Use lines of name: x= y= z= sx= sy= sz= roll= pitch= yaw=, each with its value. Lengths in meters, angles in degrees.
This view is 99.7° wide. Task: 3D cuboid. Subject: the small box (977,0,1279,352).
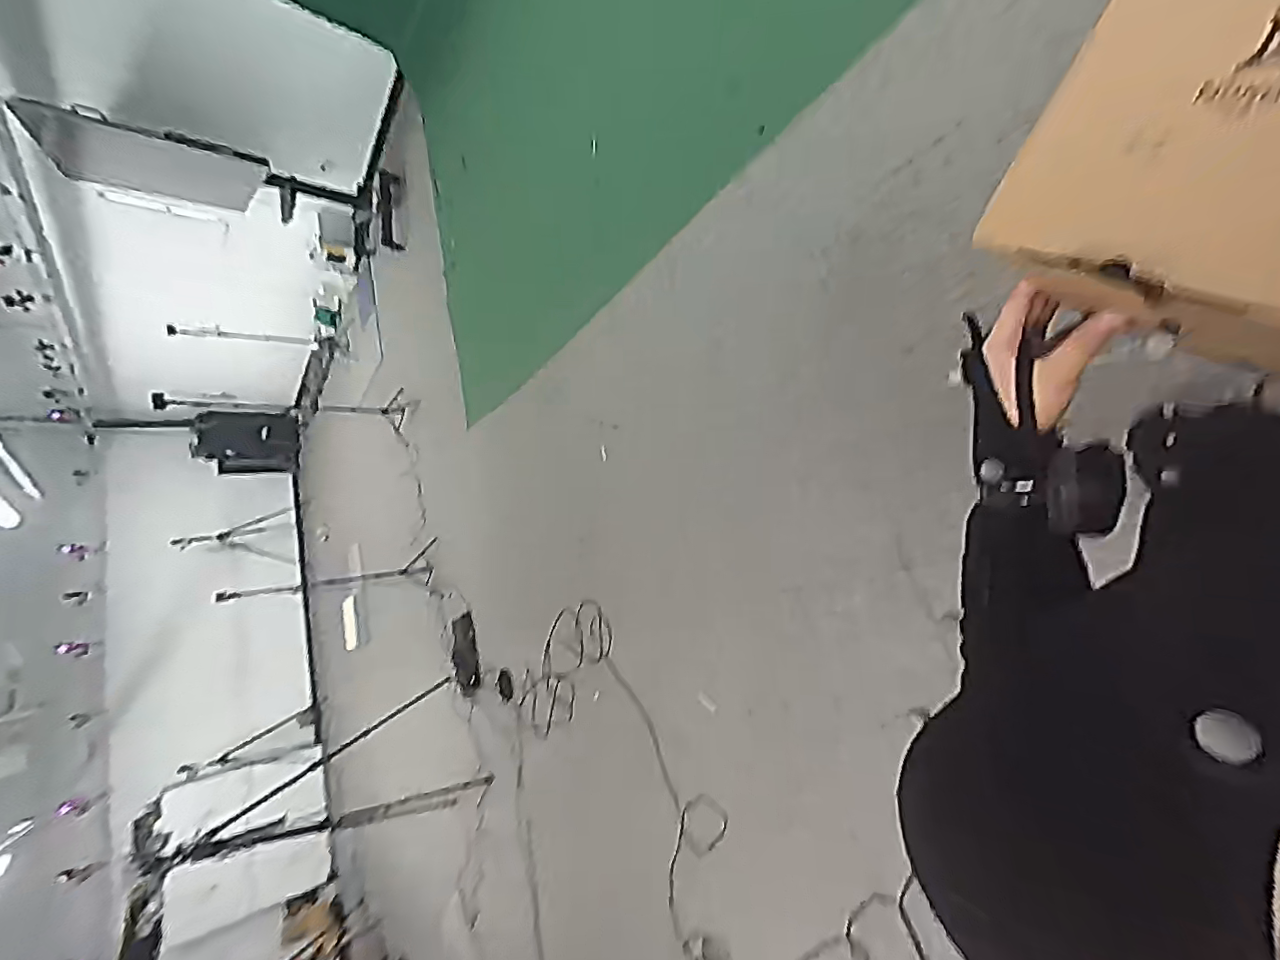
small box: x=0.329 y=-0.171 z=0.268 sx=0.168 sy=0.176 sz=0.179 roll=55 pitch=130 yaw=48
